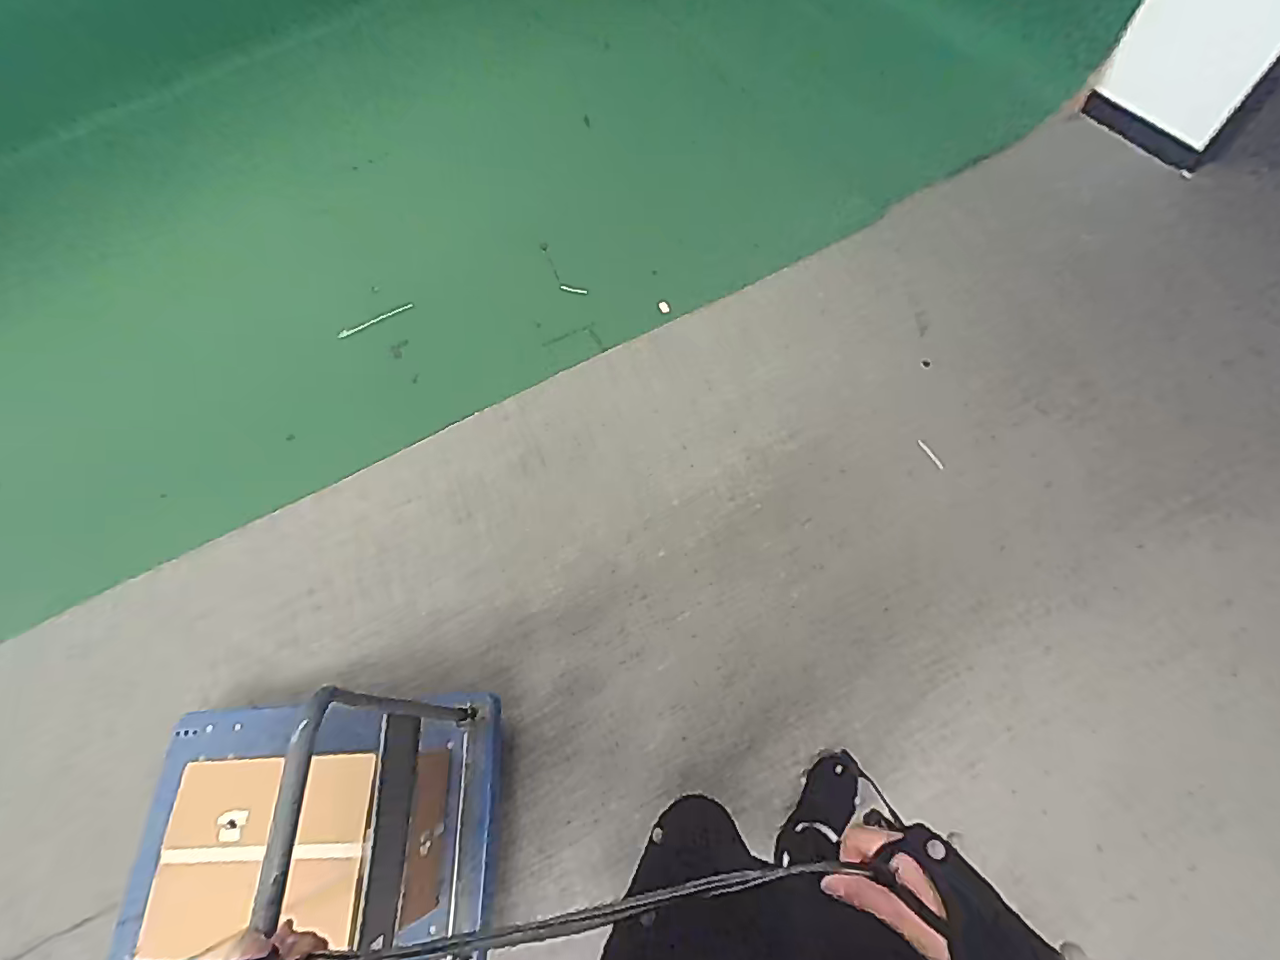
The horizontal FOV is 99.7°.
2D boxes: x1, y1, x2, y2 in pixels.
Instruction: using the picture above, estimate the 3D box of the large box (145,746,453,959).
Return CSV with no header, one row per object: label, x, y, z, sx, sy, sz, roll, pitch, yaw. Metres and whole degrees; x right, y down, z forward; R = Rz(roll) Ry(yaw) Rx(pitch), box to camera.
large box,-0.644,0.731,1.106,0.408,0.320,0.320,-6,64,7
